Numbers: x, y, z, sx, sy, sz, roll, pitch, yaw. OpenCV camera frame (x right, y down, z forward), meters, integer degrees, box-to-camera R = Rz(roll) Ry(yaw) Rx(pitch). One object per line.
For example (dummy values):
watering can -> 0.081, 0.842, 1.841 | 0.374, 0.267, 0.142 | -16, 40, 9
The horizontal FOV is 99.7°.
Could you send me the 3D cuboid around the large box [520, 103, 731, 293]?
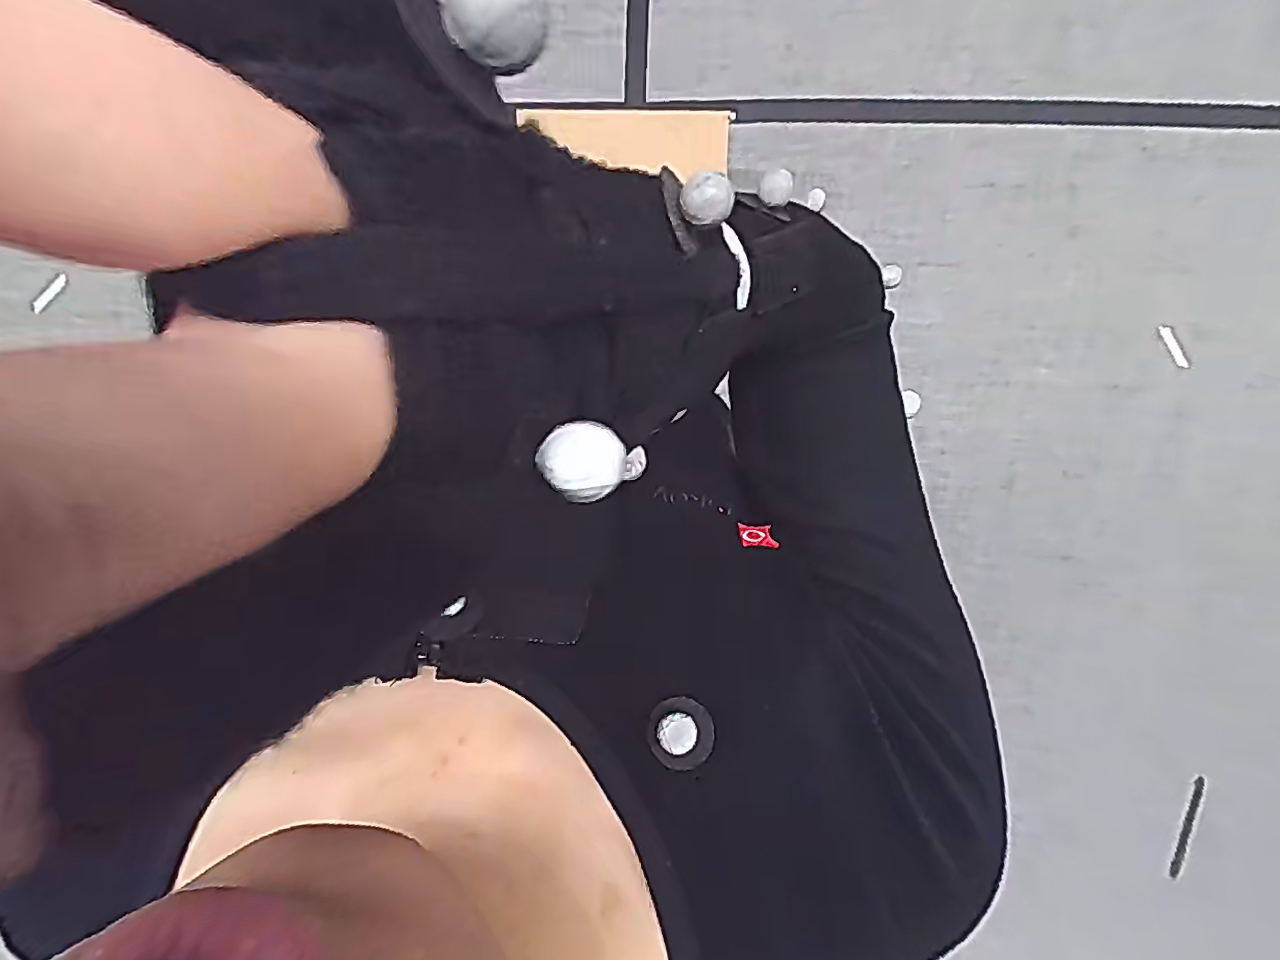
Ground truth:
large box -> -0.030, -0.592, 1.192 | 0.408, 0.320, 0.320 | 0, 105, 0
